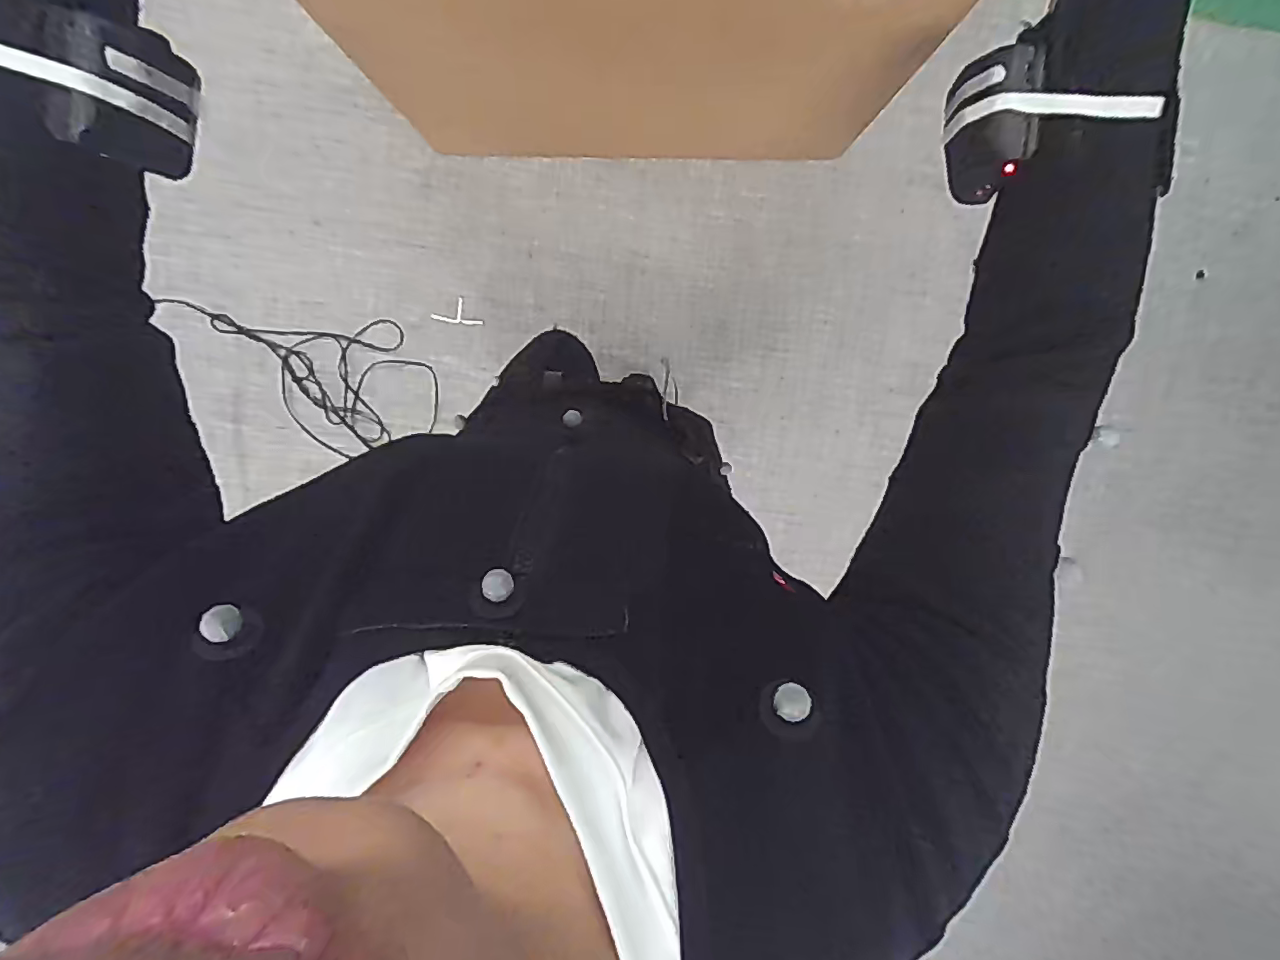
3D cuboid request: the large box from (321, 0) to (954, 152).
[{"bbox_3d":[-0.002,-0.451,0.363,0.408,0.320,0.320,0,101,0],"label":"large box"}]
